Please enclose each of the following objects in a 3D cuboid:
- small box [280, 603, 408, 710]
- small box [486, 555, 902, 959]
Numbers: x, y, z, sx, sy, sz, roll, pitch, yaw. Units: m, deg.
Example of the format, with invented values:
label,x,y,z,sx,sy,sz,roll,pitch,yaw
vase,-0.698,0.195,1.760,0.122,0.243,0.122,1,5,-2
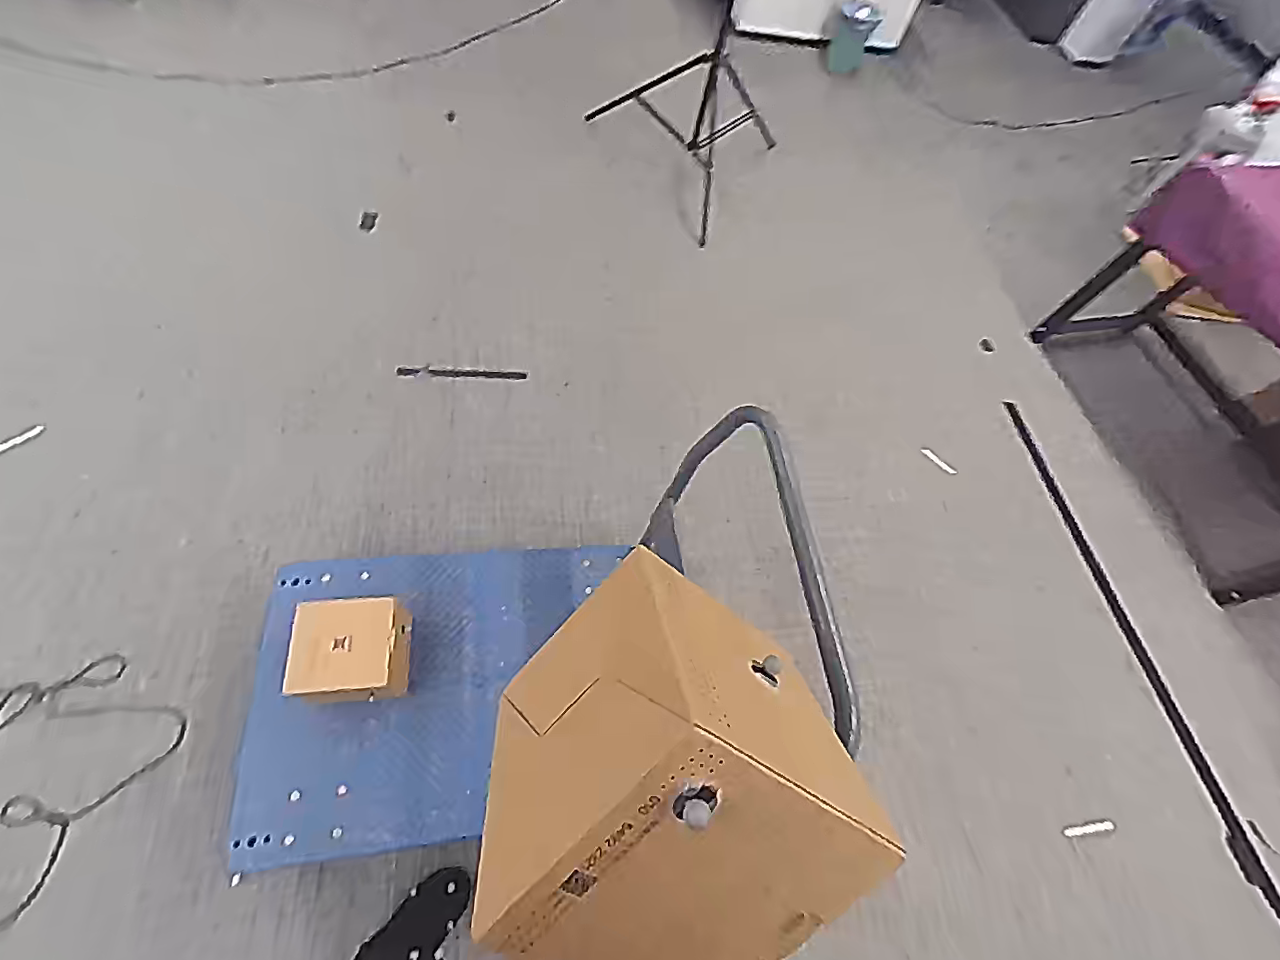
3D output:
label,x,y,z,sx,sy,sz,roll,pitch,yaw
small box,-0.566,0.350,1.065,0.179,0.176,0.168,-2,61,-12
small box,0.017,0.183,0.354,0.176,0.179,0.168,39,100,-20
